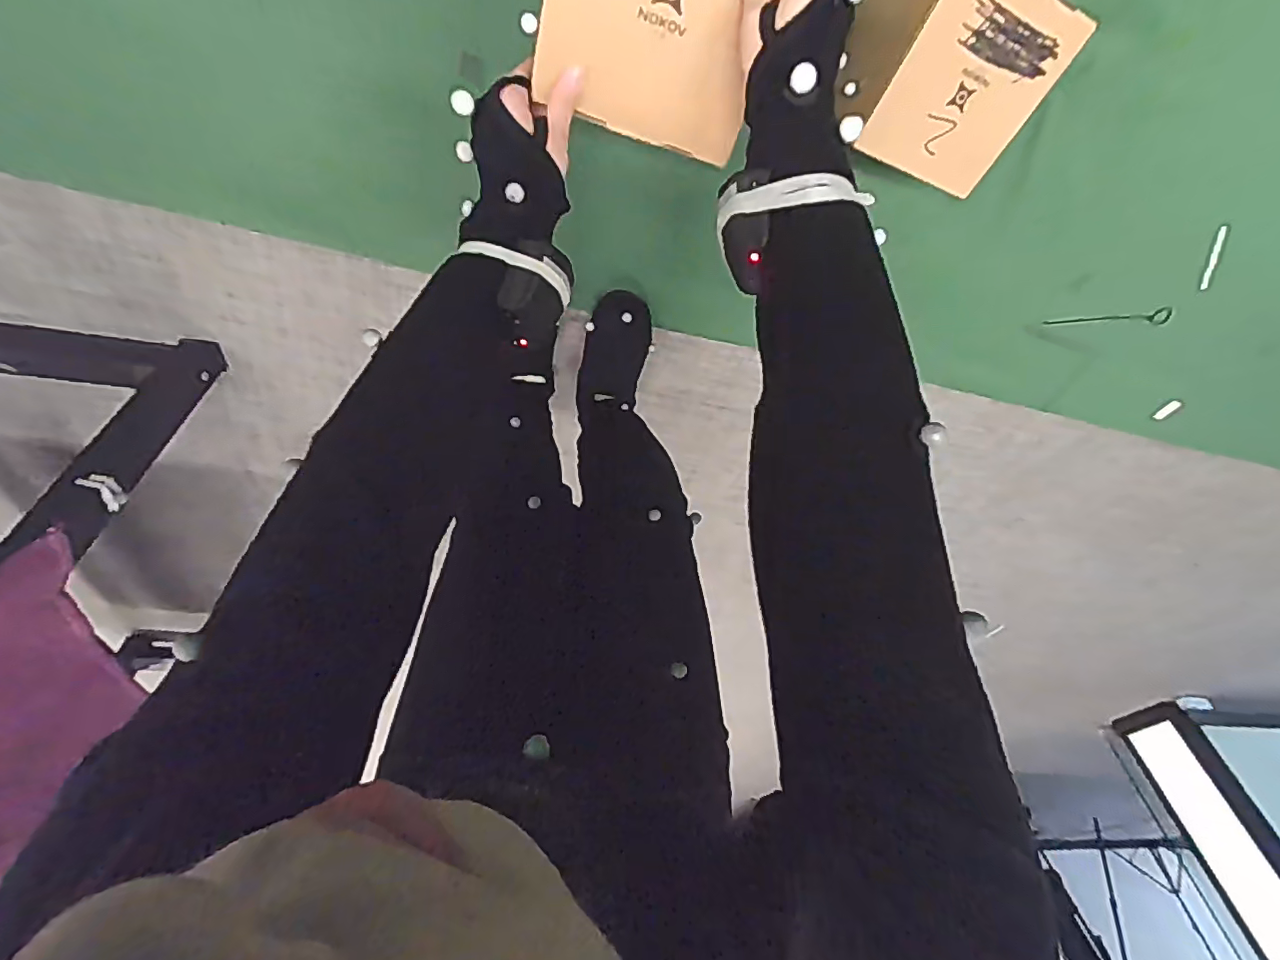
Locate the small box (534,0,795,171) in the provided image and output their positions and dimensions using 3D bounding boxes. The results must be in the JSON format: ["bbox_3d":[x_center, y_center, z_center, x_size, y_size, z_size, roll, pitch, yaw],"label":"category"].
[{"bbox_3d":[0.017,-0.390,0.429,0.168,0.176,0.179,11,136,-15],"label":"small box"}]
